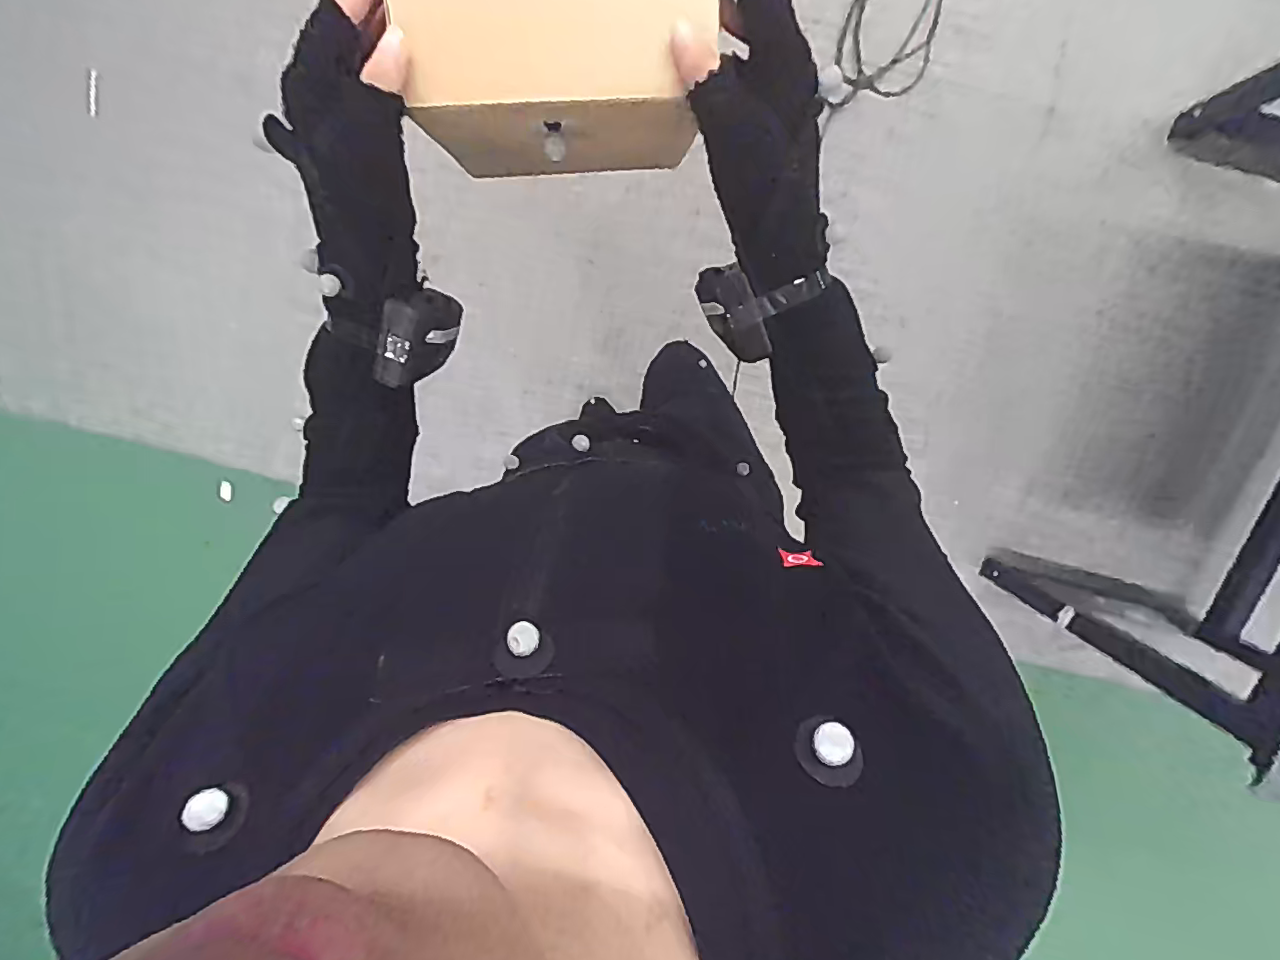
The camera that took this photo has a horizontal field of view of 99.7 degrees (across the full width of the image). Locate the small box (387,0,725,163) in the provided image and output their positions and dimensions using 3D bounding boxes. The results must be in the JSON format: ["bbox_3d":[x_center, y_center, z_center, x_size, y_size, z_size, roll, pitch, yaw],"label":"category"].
[{"bbox_3d":[-0.048,-0.312,0.339,0.179,0.176,0.168,-3,109,-1],"label":"small box"}]
